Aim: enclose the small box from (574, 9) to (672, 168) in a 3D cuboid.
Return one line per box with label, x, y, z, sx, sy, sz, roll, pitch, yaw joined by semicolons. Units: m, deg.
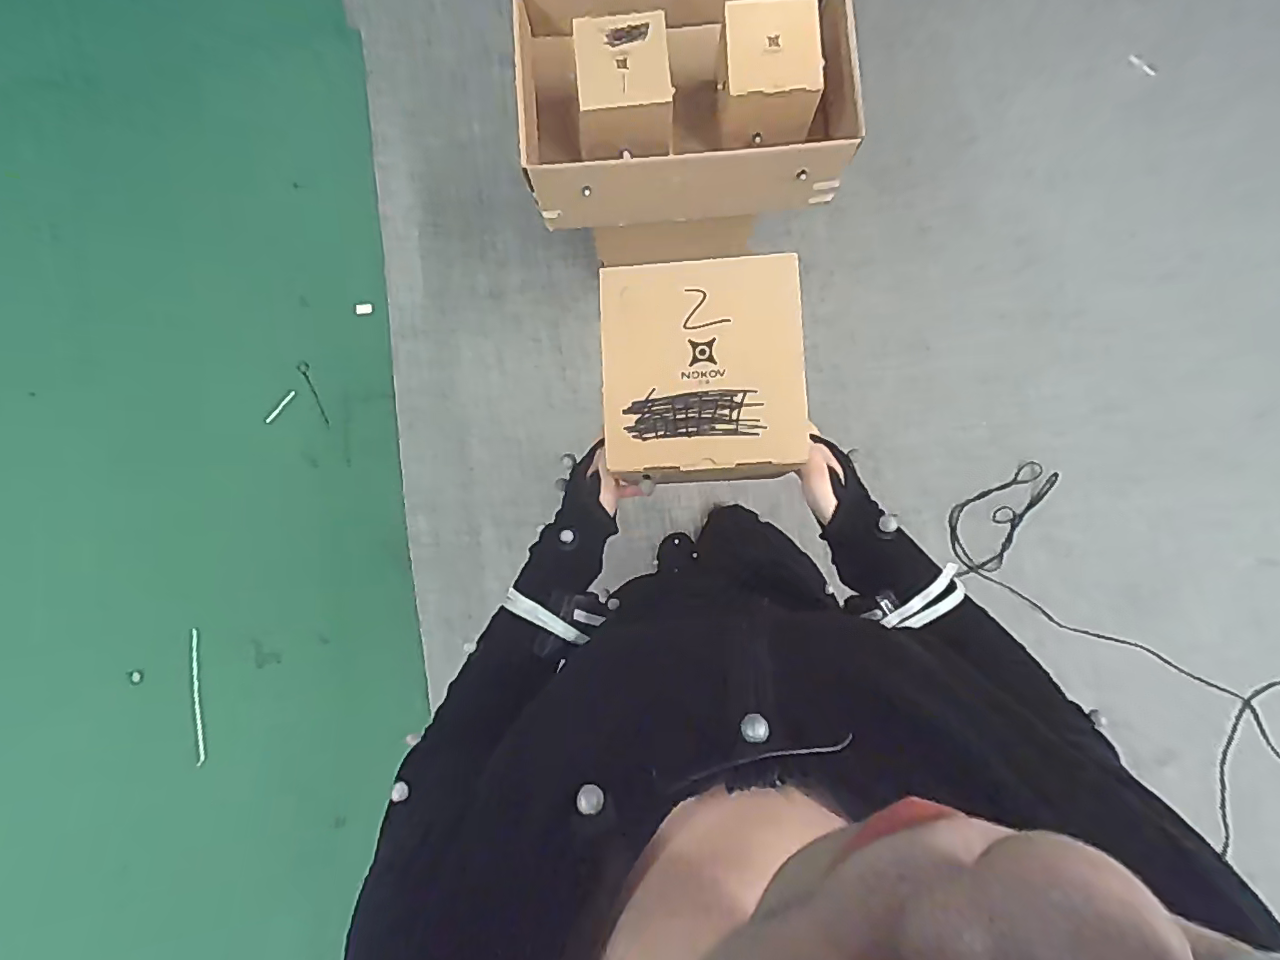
small box;-0.029;-0.733;1.028;0.168;0.176;0.179;-5;86;2
